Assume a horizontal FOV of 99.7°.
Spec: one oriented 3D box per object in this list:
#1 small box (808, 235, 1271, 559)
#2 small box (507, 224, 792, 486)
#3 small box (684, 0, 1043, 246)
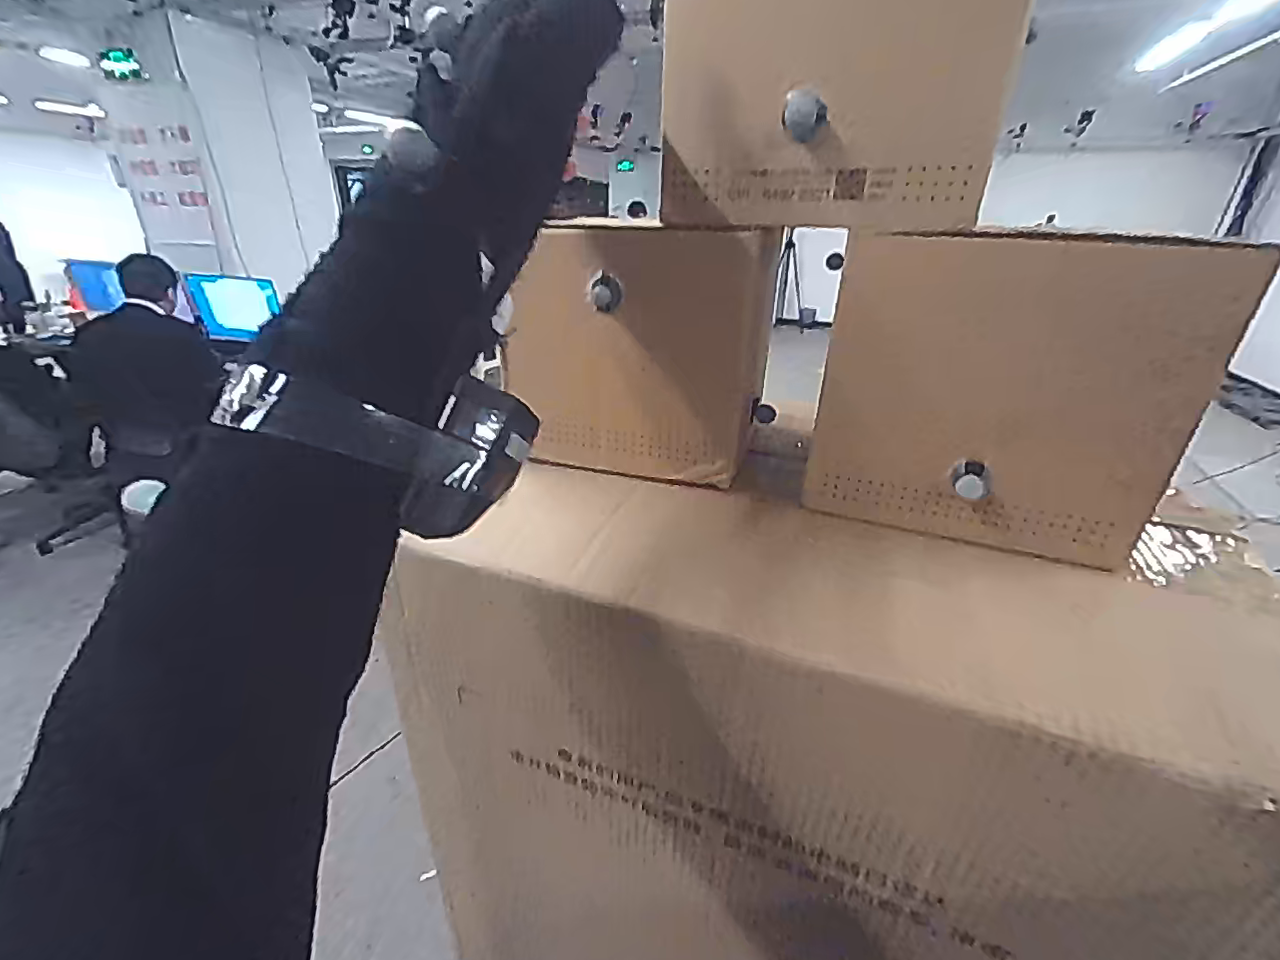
[{"bbox_3d":[0.222,-0.067,0.361,0.179,0.176,0.168,10,27,19],"label":"small box"},{"bbox_3d":[0.016,-0.108,0.432,0.179,0.176,0.168,10,27,16],"label":"small box"},{"bbox_3d":[0.128,-0.240,0.332,0.168,0.176,0.179,11,28,20],"label":"small box"}]
